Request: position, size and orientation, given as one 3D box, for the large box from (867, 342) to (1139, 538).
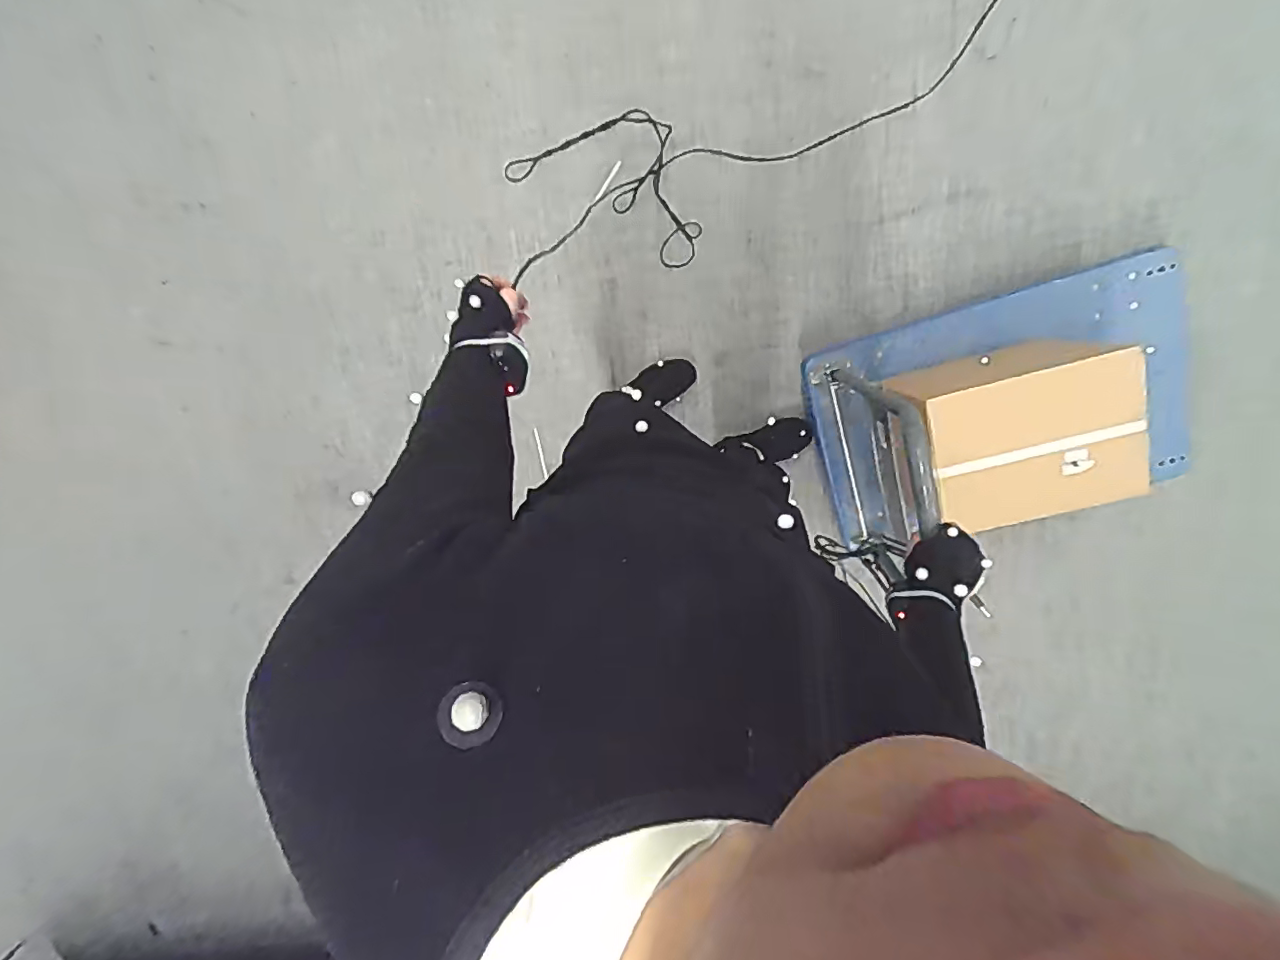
[{"bbox_3d":[0.793,-0.106,1.230,0.408,0.320,0.320,-14,106,7],"label":"large box"}]
